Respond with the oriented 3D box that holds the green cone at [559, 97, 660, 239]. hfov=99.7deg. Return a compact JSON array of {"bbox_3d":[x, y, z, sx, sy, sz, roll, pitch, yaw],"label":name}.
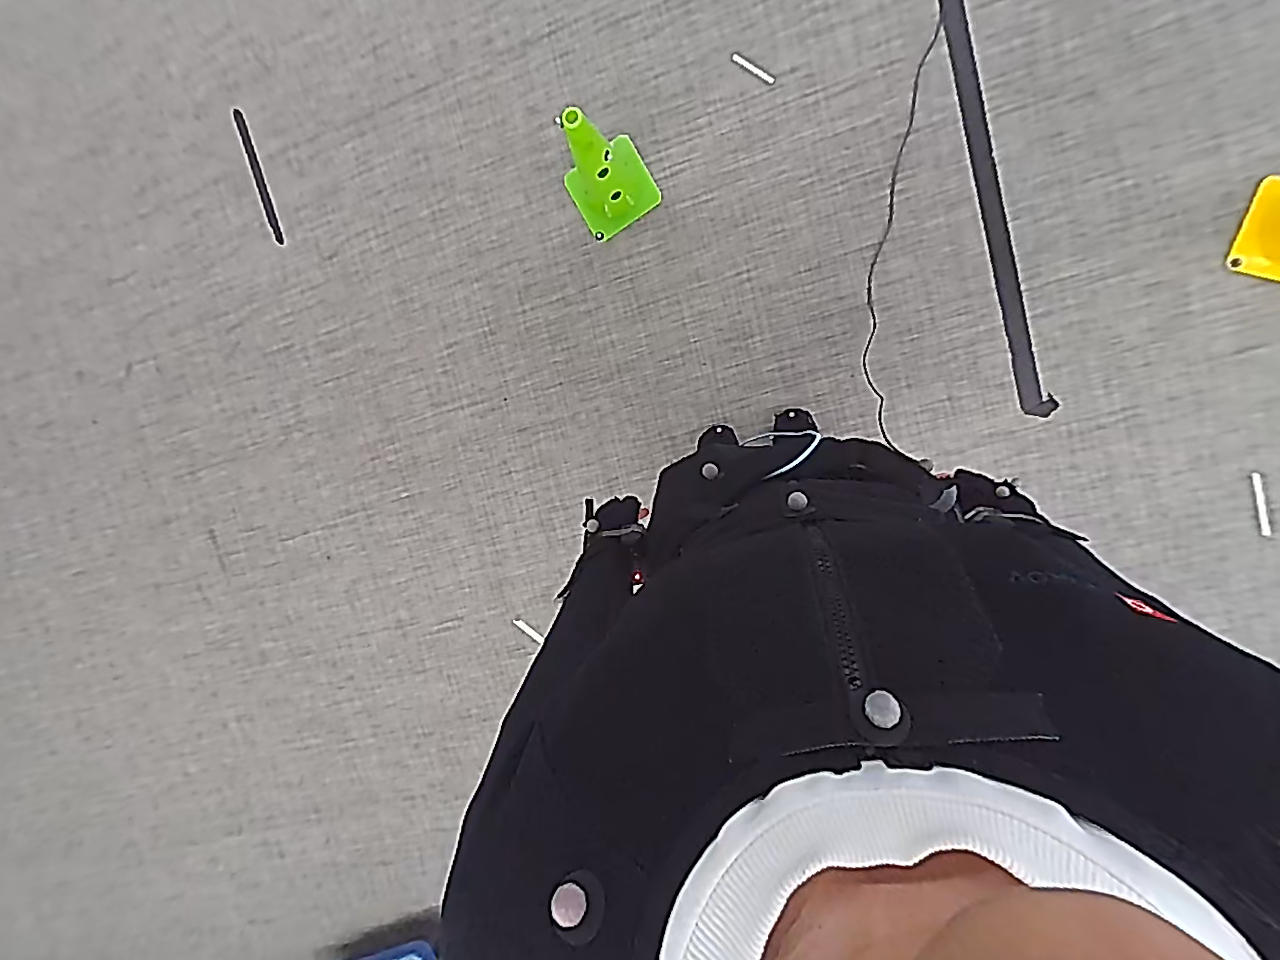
[{"bbox_3d":[-0.102,-0.733,1.218,0.200,0.368,0.202,-30,90,11],"label":"green cone"}]
